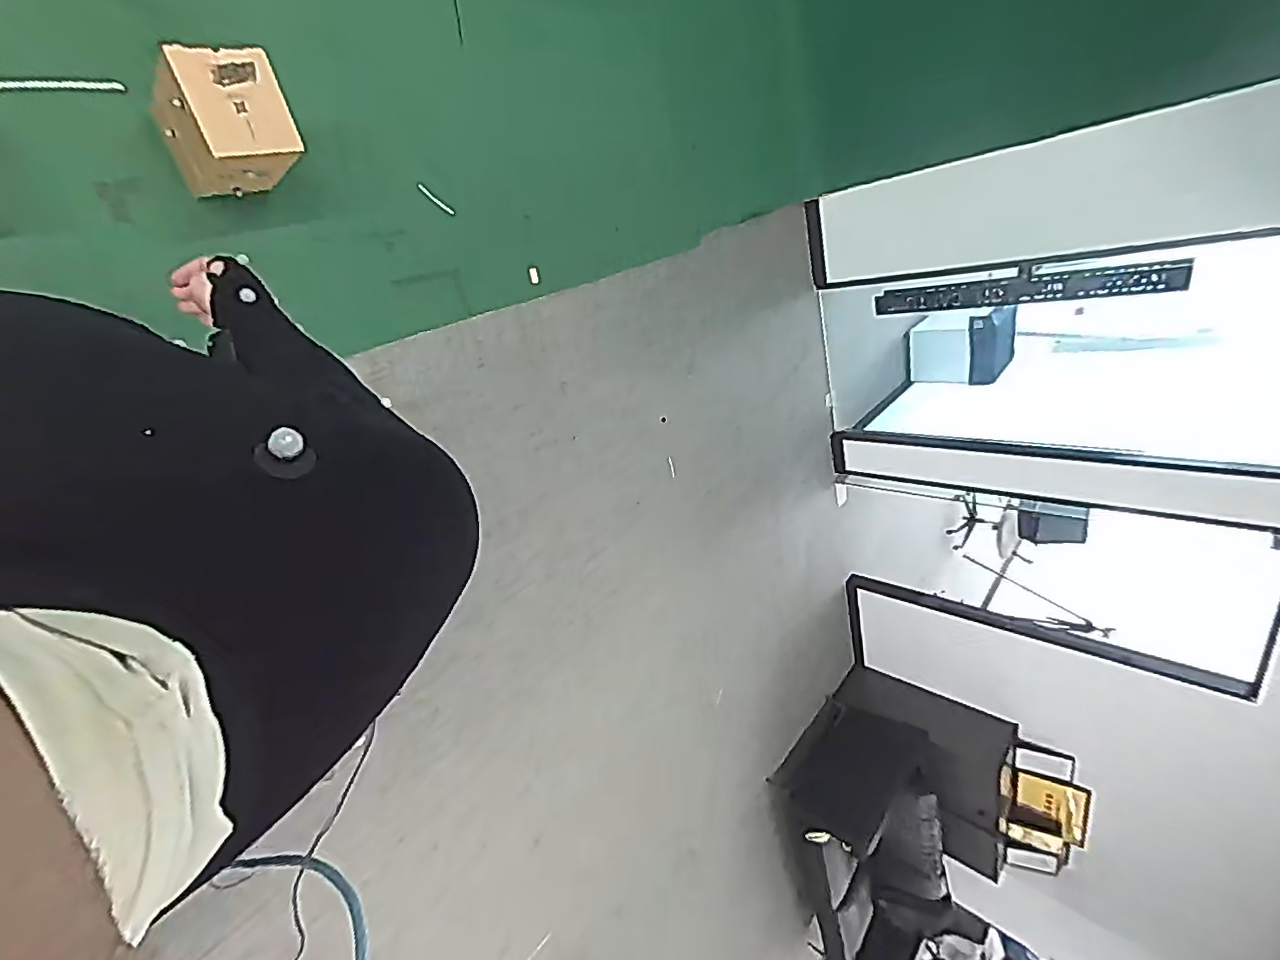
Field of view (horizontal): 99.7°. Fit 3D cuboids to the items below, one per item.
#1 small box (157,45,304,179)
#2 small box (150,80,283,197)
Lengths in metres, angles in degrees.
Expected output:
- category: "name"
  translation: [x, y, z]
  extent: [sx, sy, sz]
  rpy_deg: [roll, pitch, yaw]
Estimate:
- category: "small box"
  translation: [-0.813, -0.722, 1.072]
  extent: [0.168, 0.176, 0.179]
  rpy_deg: [-33, 120, -36]
- category: "small box"
  translation: [-0.929, -0.743, 1.186]
  extent: [0.168, 0.176, 0.179]
  rpy_deg: [-33, 120, -37]
